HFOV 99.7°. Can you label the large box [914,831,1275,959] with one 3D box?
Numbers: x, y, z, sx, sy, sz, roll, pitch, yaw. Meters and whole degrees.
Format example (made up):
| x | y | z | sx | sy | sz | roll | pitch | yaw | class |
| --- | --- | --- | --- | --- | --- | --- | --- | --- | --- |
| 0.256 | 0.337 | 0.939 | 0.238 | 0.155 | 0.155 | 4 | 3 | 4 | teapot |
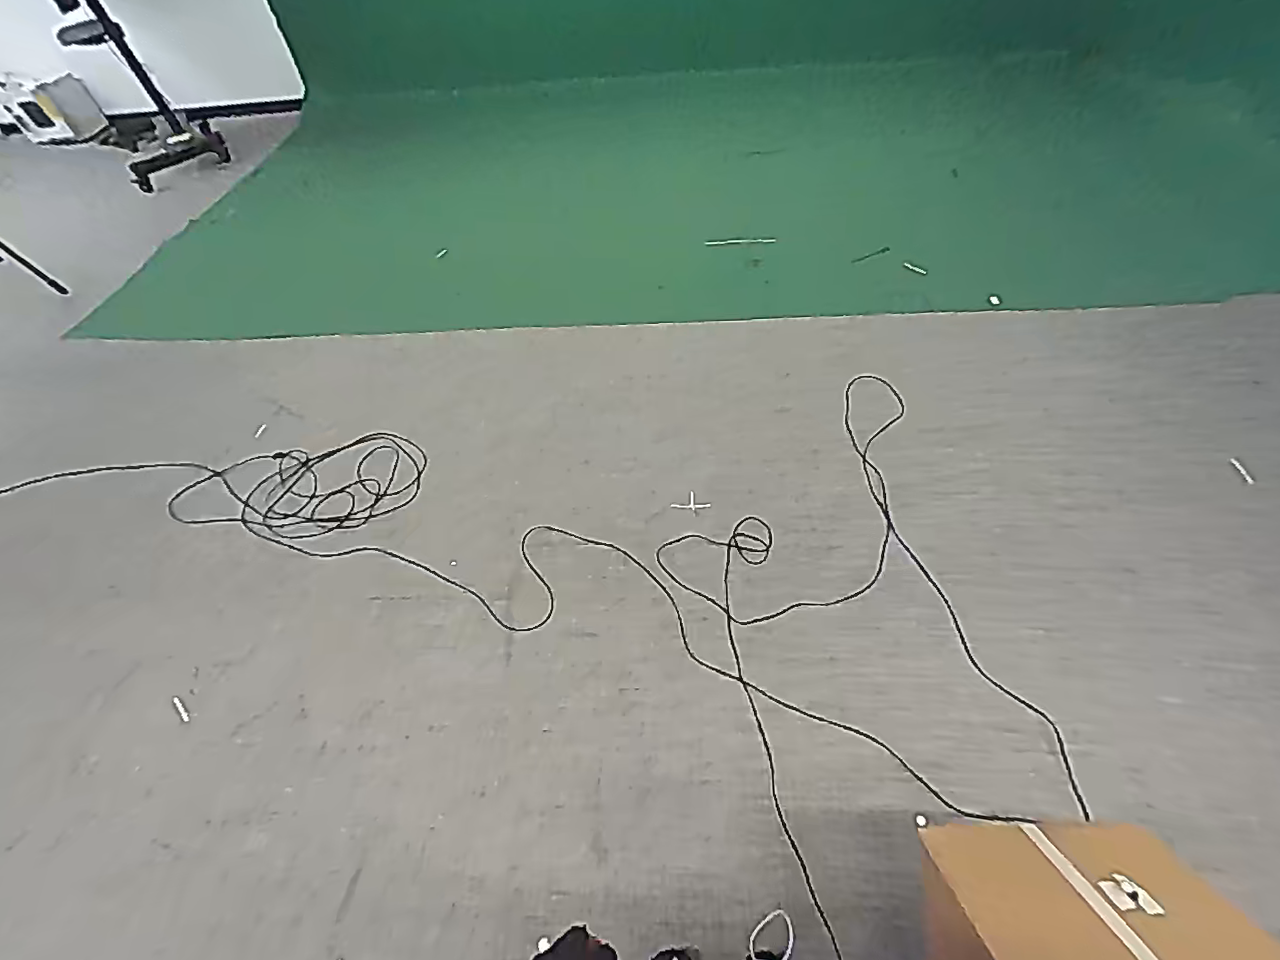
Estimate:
| x | y | z | sx | sy | sz | roll | pitch | yaw | class |
| --- | --- | --- | --- | --- | --- | --- | --- | --- | --- |
| 0.570 | 0.694 | 0.624 | 0.320 | 0.408 | 0.320 | -4 | 92 | 5 | large box |
